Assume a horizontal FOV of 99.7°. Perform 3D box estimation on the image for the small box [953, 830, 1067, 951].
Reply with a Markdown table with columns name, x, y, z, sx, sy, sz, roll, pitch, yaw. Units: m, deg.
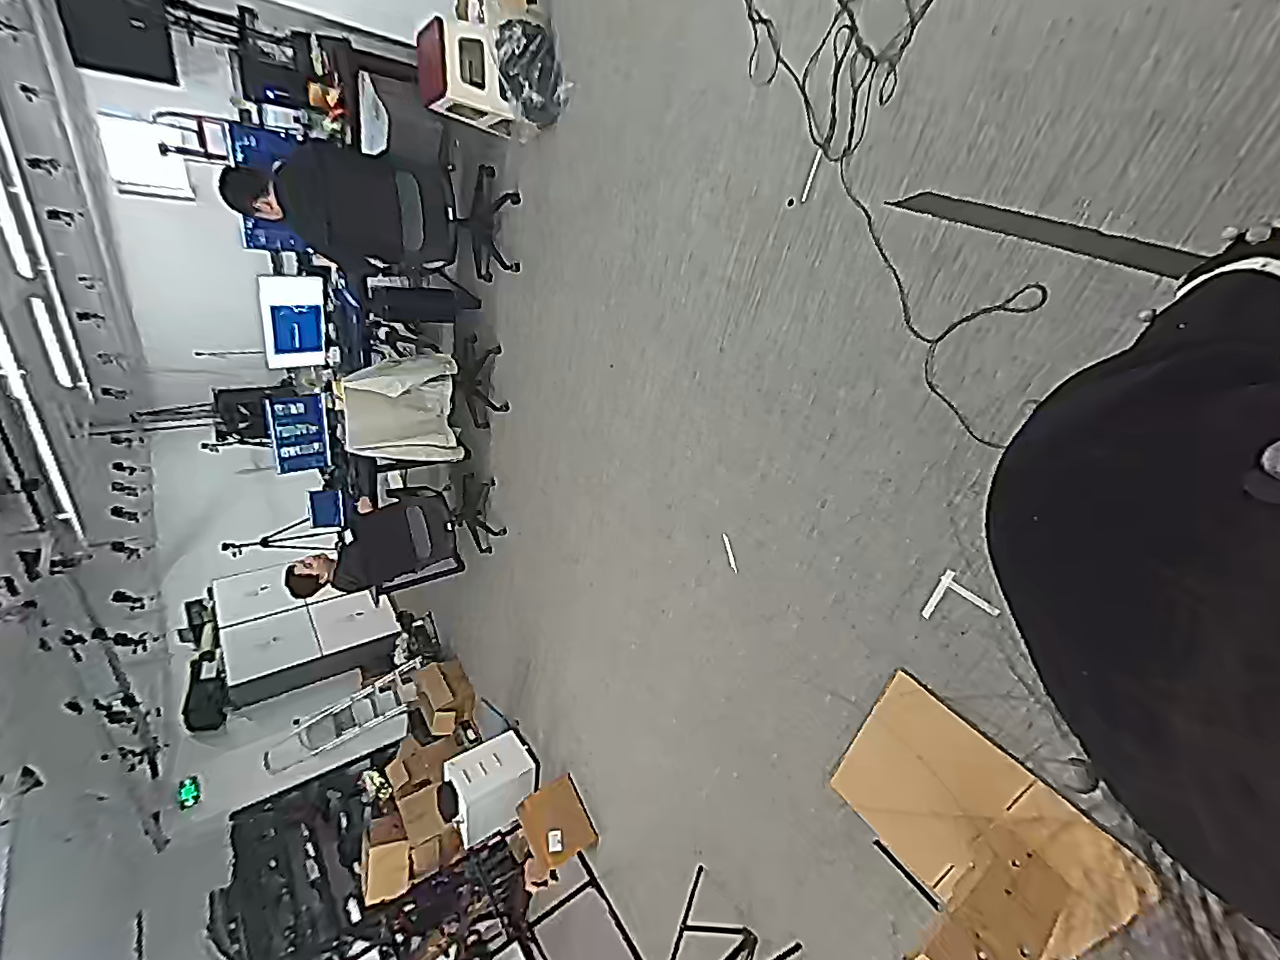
| name | x | y | z | sx | sy | sz | roll | pitch | yaw |
| --- | --- | --- | --- | --- | --- | --- | --- | --- | --- |
| small box | 0.983 | 1.077 | 1.431 | 0.168 | 0.176 | 0.179 | 45 | 133 | 37 |

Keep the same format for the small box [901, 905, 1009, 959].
| name | x | y | z | sx | sy | sz | roll | pitch | yaw |
| --- | --- | --- | --- | --- | --- | --- | --- | --- | --- |
| small box | 0.723 | 1.137 | 1.238 | 0.168 | 0.176 | 0.179 | 42 | 130 | 38 |
